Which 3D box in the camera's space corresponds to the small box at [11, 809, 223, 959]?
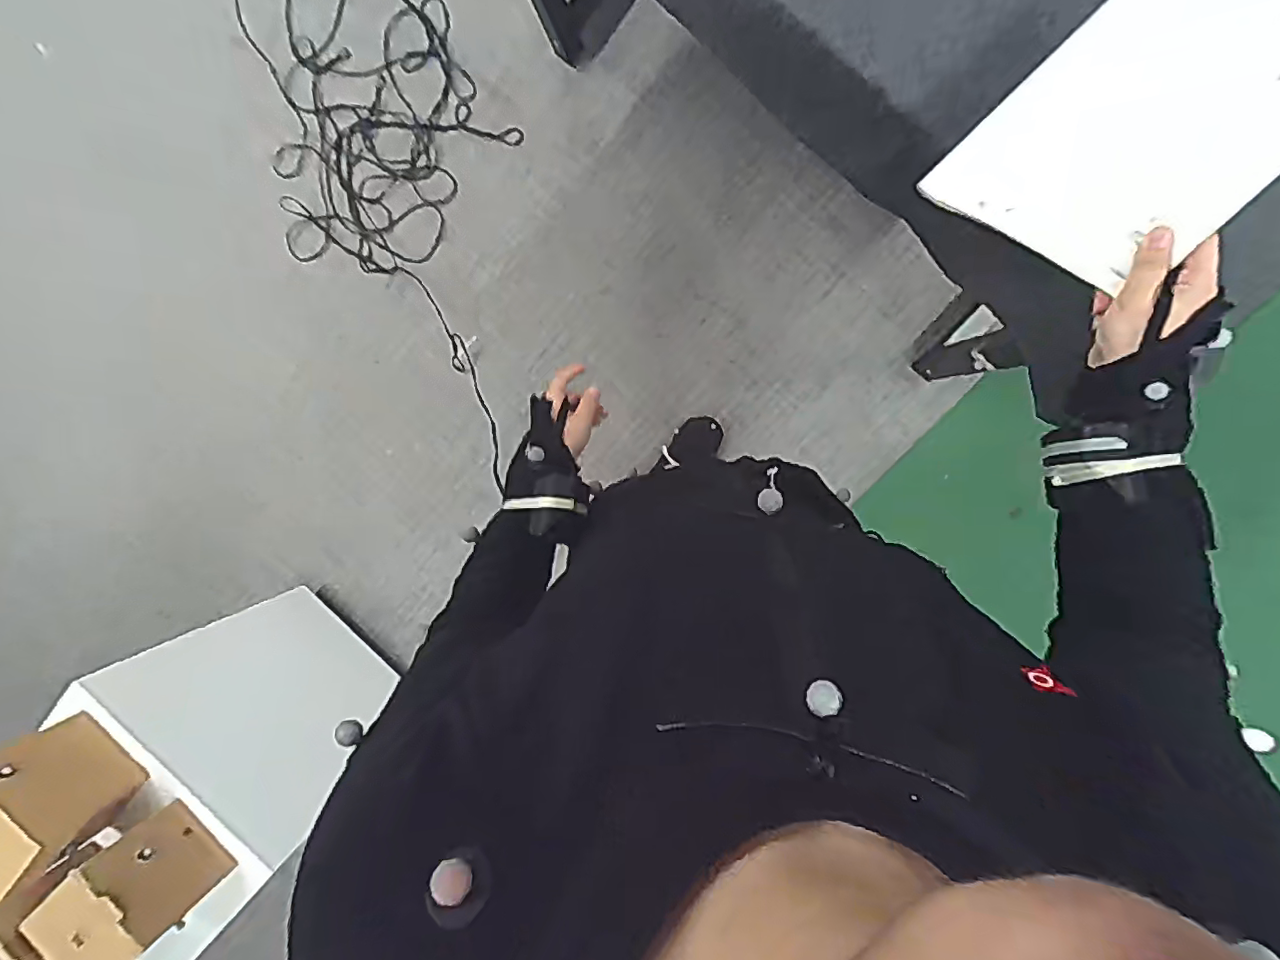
[{"bbox_3d":[-0.850,0.700,0.899,0.179,0.176,0.168,-43,88,12],"label":"small box"}]
